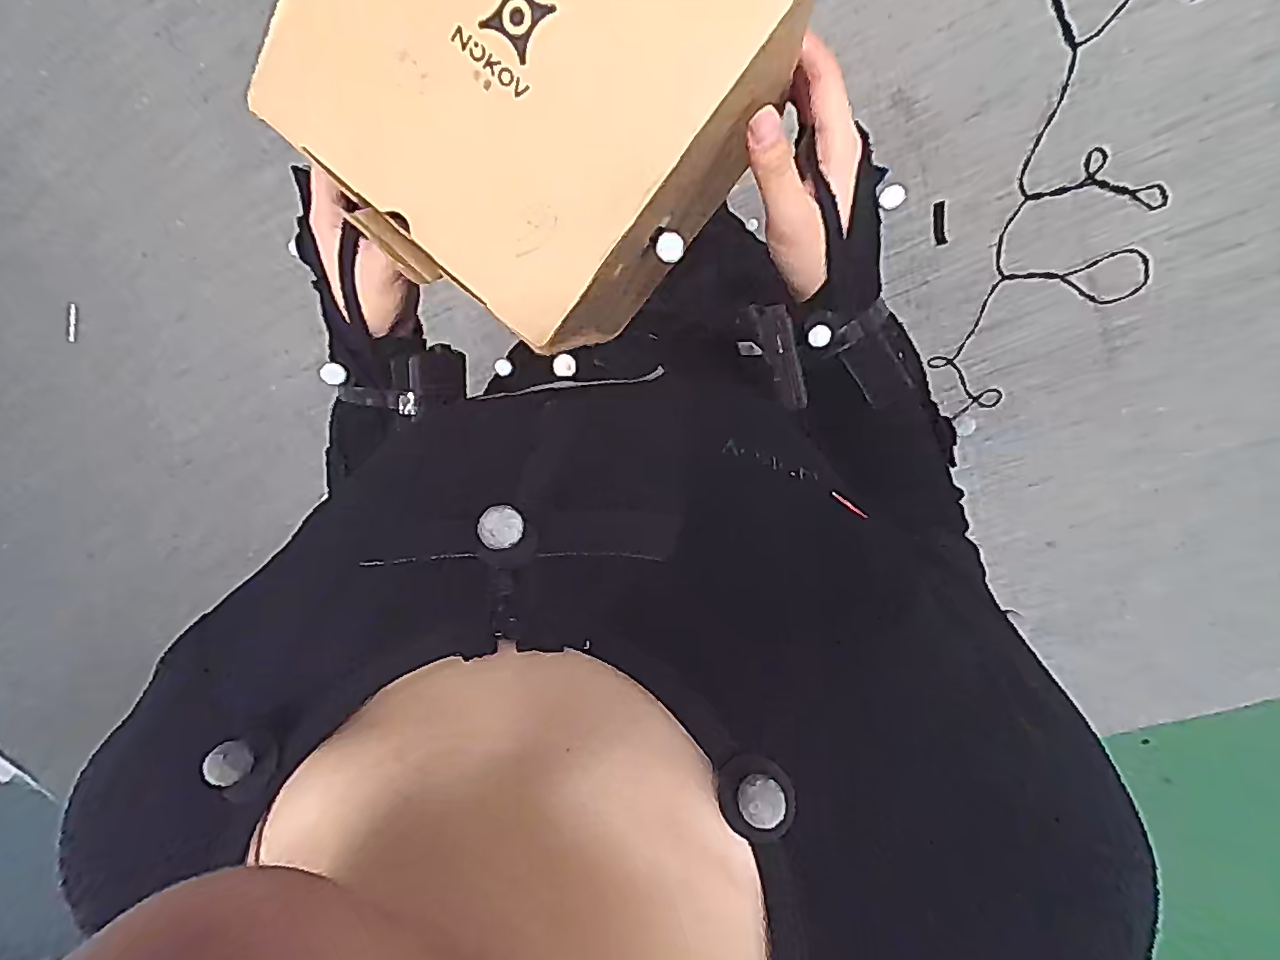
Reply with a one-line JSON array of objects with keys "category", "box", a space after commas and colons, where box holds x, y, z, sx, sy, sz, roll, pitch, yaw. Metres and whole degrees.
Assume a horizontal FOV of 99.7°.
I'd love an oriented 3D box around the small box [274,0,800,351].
[{"category": "small box", "box": [-0.038, -0.194, 0.295, 0.168, 0.176, 0.179, 40, 109, -4]}]
